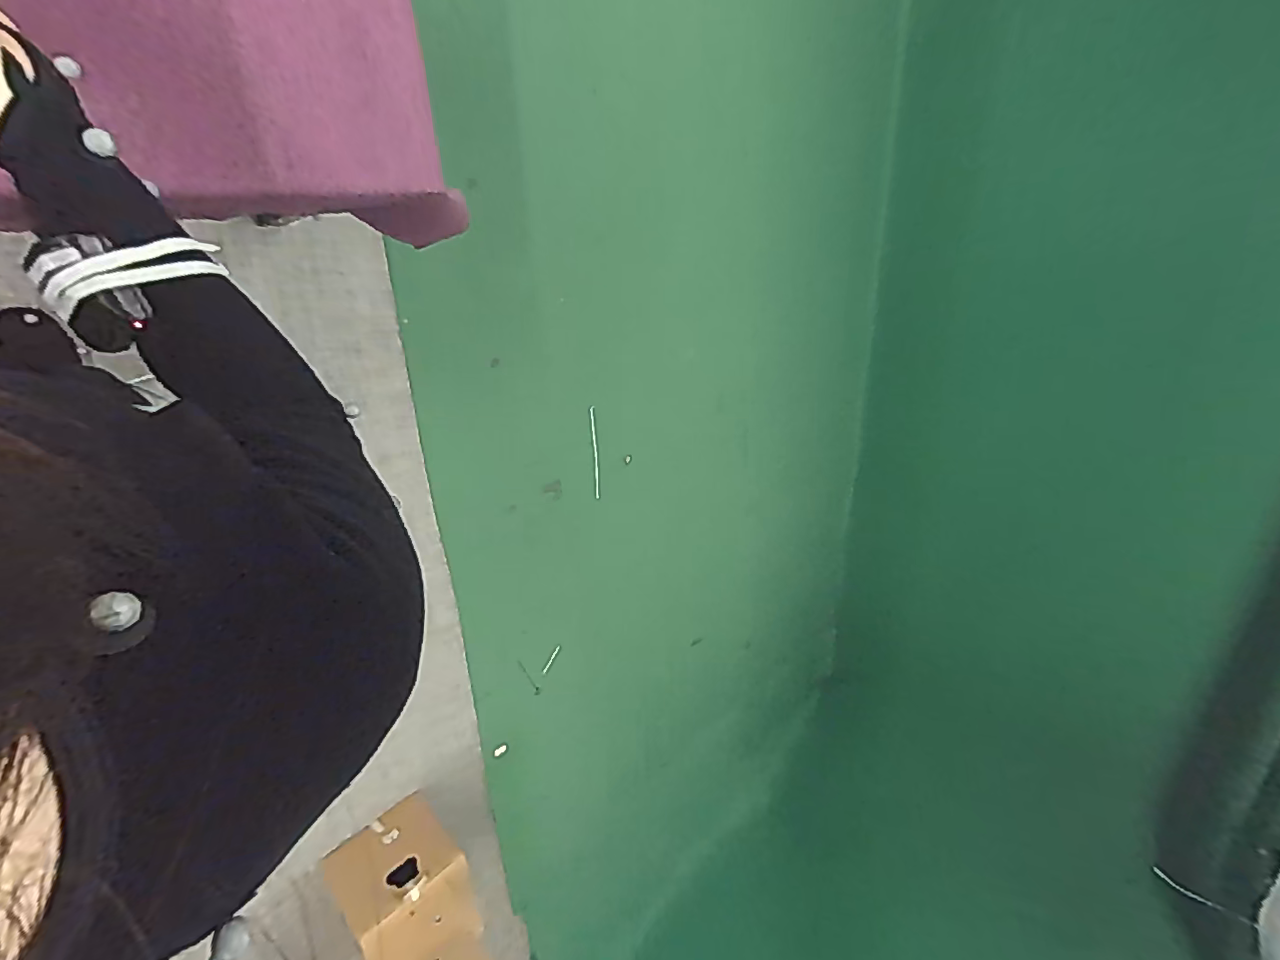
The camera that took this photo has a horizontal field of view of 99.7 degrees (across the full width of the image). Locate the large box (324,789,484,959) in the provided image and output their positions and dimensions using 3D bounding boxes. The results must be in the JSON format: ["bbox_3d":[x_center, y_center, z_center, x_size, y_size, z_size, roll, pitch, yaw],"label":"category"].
[{"bbox_3d":[-0.746,1.308,1.729,0.320,0.320,0.408,-24,121,-40],"label":"large box"}]

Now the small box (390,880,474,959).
[{"bbox_3d":[-0.583,1.288,1.529,0.168,0.176,0.179,-22,120,-41],"label":"small box"}]
